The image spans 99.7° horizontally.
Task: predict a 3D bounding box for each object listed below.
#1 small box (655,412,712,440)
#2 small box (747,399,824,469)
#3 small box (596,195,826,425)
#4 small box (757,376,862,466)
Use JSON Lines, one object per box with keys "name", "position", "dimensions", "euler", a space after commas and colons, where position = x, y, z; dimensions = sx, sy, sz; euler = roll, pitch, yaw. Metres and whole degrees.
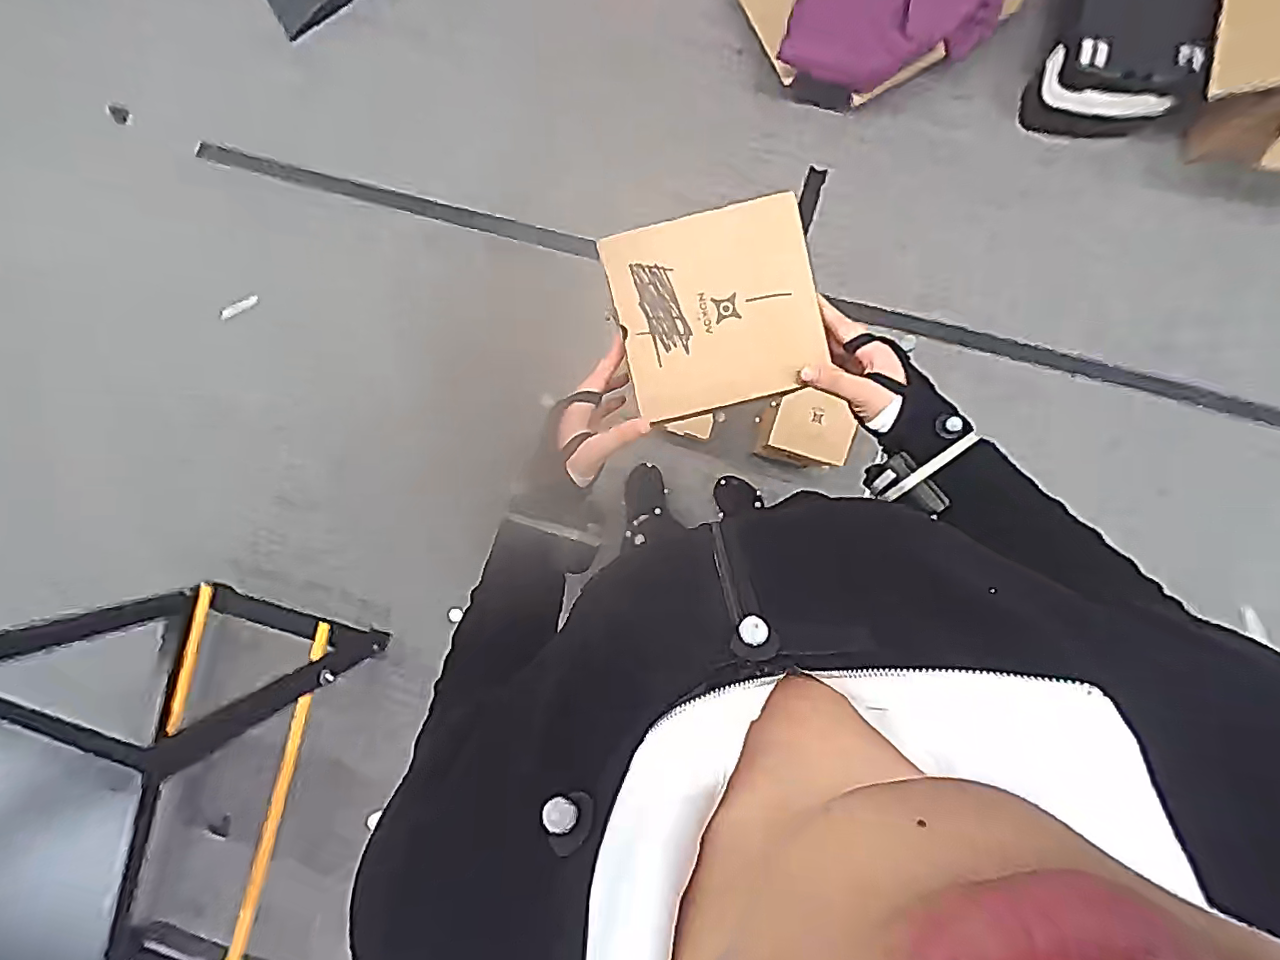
{"name": "small box", "position": [0.112, -0.210, 1.412], "dimensions": [0.168, 0.176, 0.179], "euler": [19, 94, 4]}
{"name": "small box", "position": [0.388, -0.131, 1.391], "dimensions": [0.179, 0.176, 0.168], "euler": [15, 93, 4]}
{"name": "small box", "position": [0.065, -0.155, 0.555], "dimensions": [0.179, 0.176, 0.168], "euler": [-13, 94, 1]}
{"name": "small box", "position": [0.374, -0.139, 1.228], "dimensions": [0.168, 0.176, 0.179], "euler": [18, 94, 5]}
